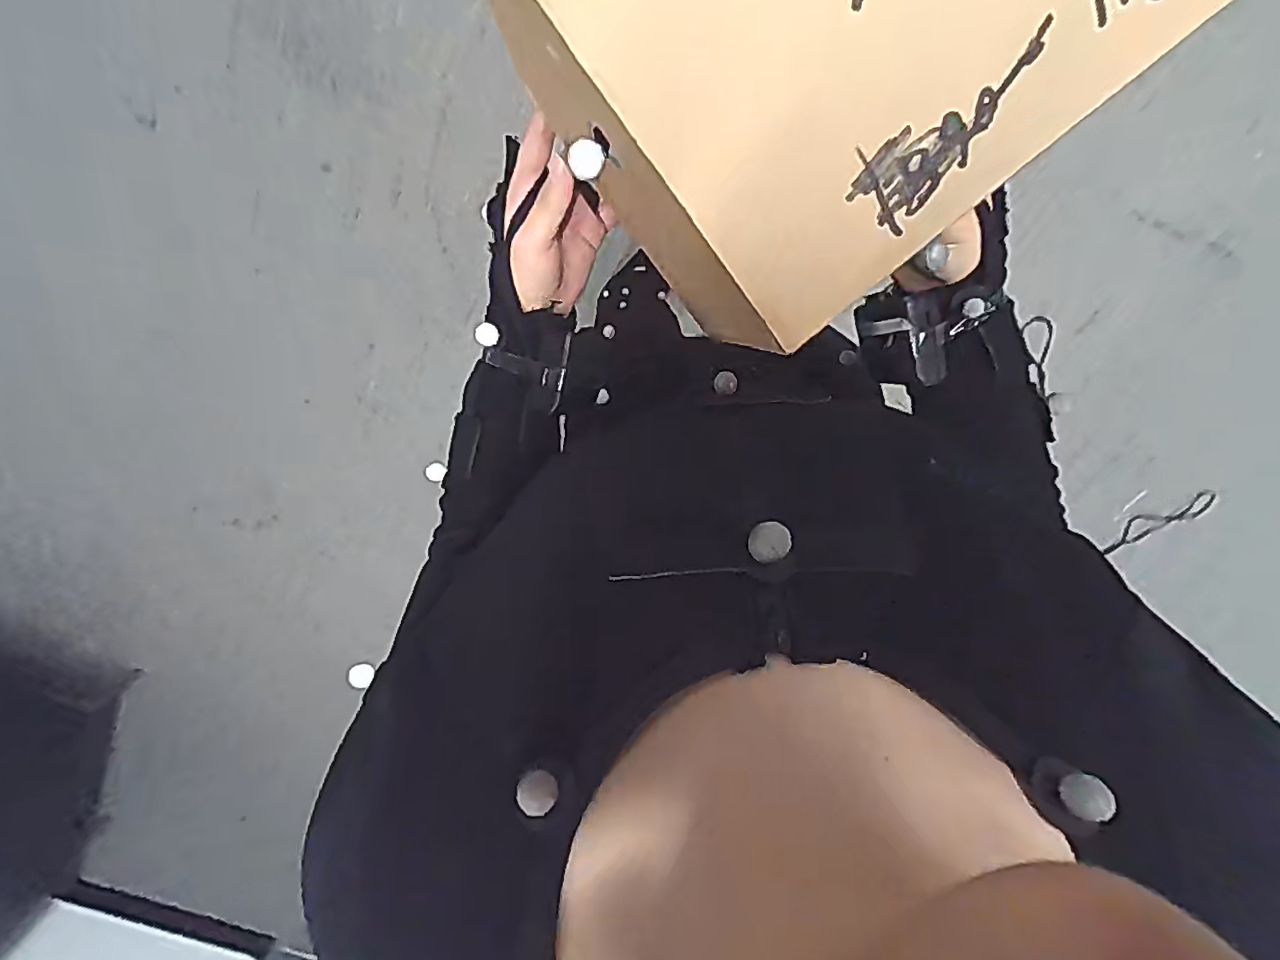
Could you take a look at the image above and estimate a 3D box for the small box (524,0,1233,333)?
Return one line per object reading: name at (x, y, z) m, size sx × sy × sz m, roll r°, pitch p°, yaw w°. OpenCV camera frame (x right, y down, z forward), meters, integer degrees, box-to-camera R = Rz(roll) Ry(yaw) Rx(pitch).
small box at (0.063, -0.183, 0.234) m, size 0.168 × 0.176 × 0.179 m, roll -38°, pitch 104°, yaw 10°
